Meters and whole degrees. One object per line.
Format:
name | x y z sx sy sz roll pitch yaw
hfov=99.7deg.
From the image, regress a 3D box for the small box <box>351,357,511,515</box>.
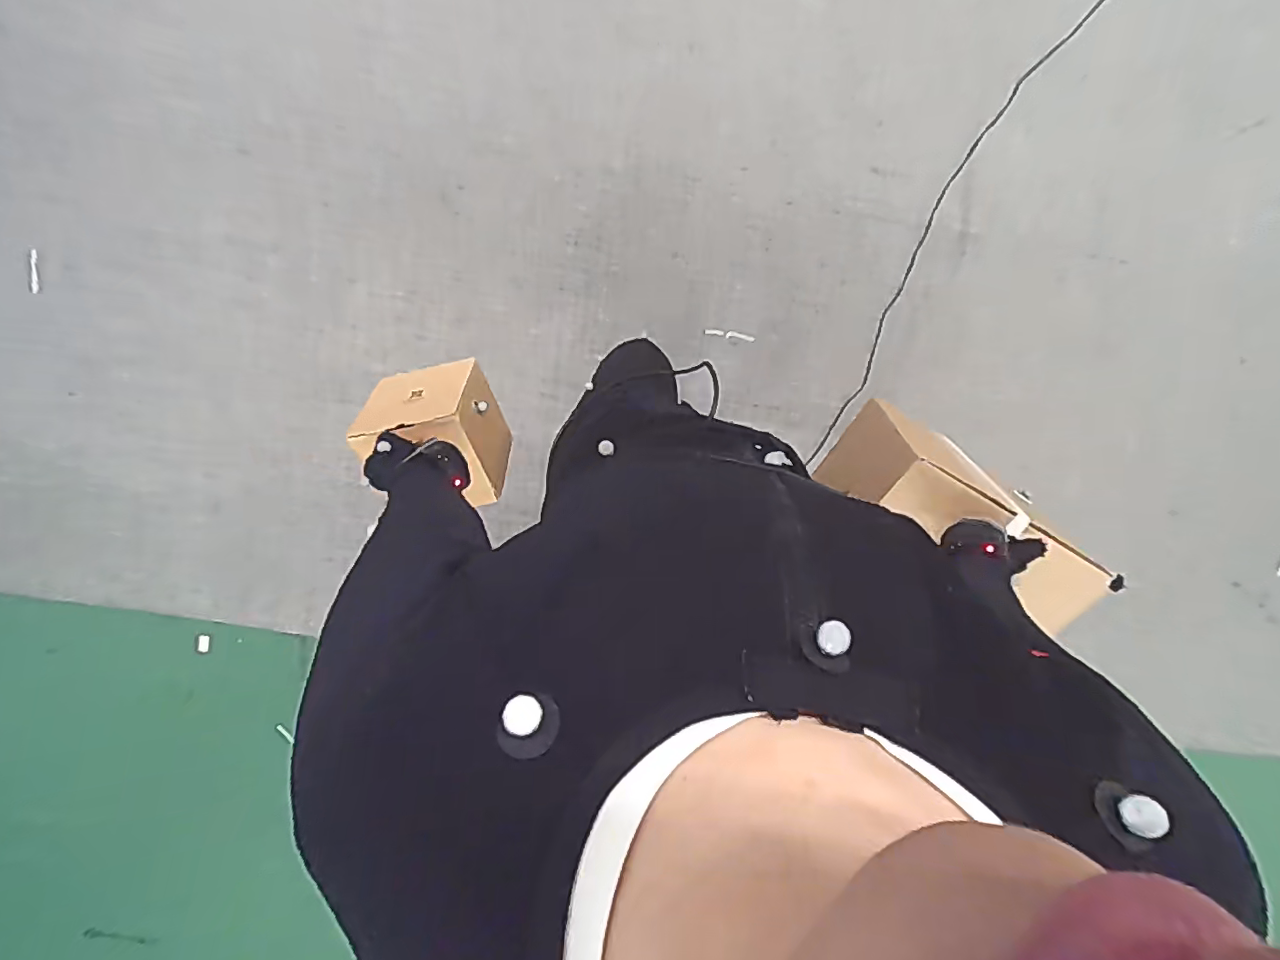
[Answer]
small box | -0.320 -0.070 0.873 0.168 0.179 0.176 -12 130 5
